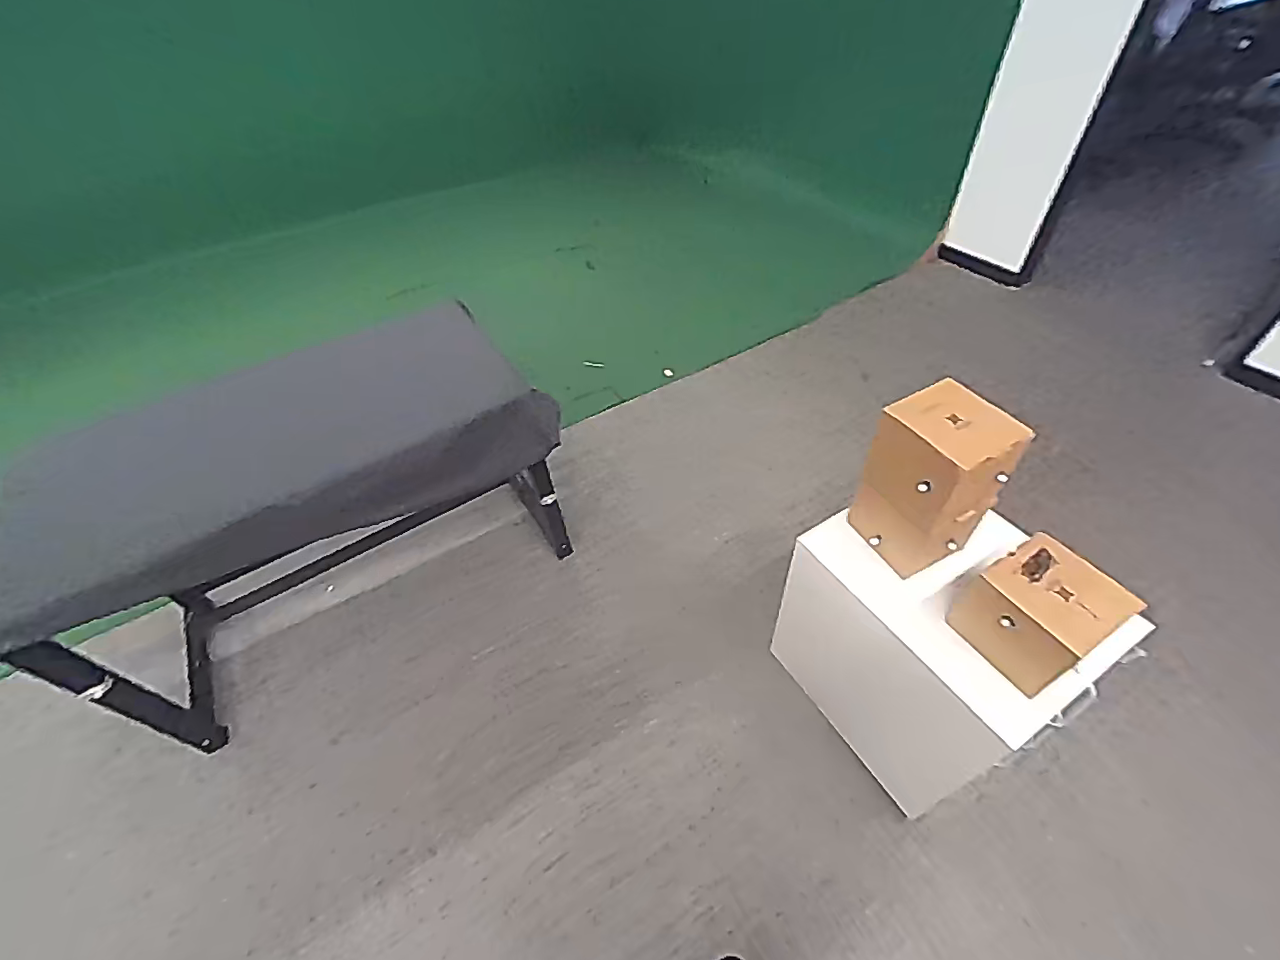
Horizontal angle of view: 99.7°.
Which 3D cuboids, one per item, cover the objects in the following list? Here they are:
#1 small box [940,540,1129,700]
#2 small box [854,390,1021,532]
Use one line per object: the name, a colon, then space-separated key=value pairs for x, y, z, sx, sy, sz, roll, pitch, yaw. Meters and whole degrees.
small box: x=0.669 y=0.244 z=0.941 sx=0.168 sy=0.176 sz=0.179 roll=-25 pitch=51 yaw=-20
small box: x=0.526 y=-0.029 z=0.982 sx=0.168 sy=0.176 sz=0.179 roll=-23 pitch=49 yaw=-20
